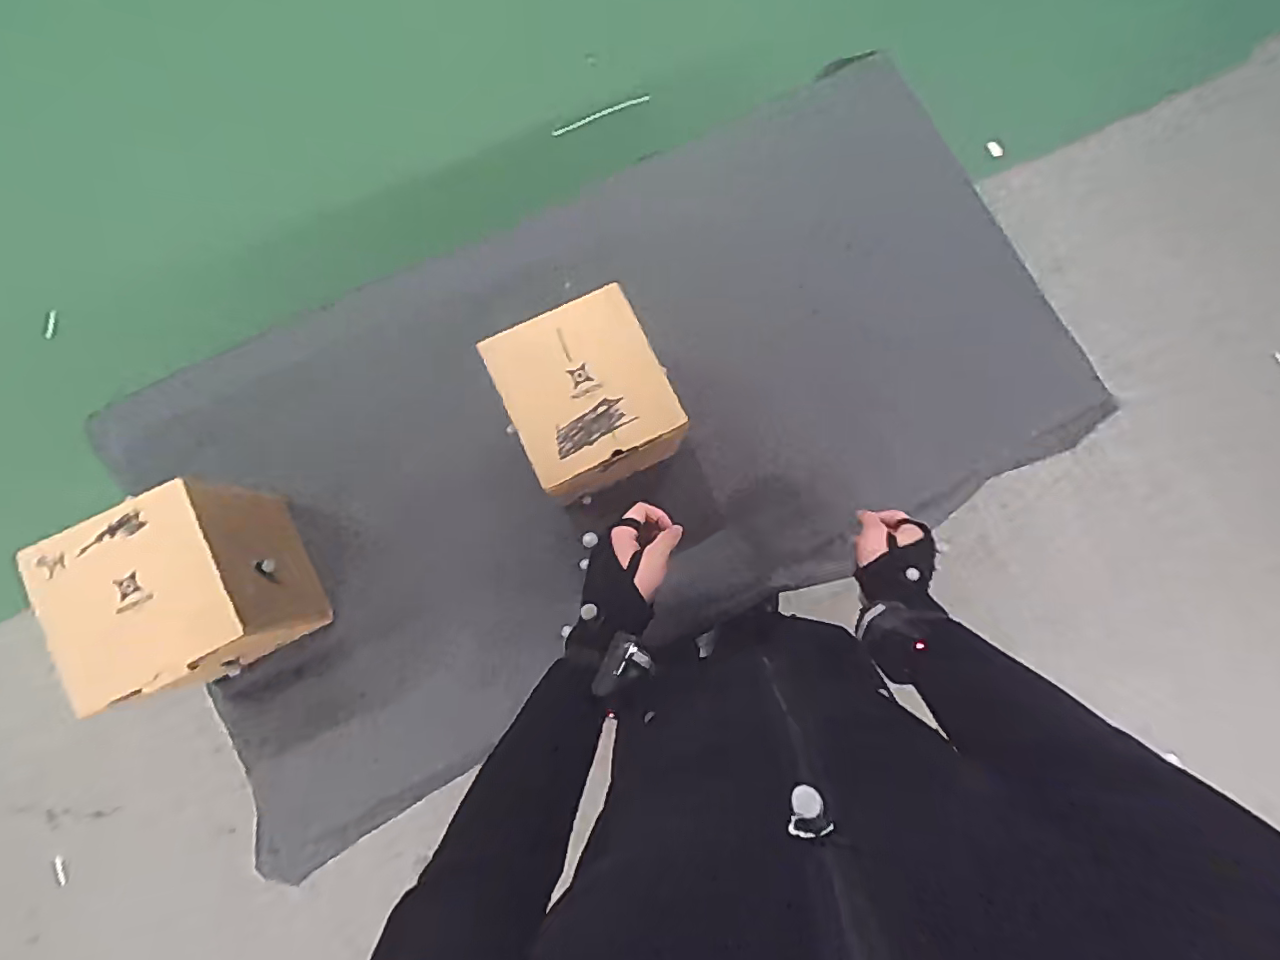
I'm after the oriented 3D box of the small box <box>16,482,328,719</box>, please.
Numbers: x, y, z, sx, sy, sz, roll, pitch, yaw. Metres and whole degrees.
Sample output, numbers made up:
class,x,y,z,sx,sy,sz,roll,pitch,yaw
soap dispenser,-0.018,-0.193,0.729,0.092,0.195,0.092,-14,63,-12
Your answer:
class,x,y,z,sx,sy,sz,roll,pitch,yaw
small box,-0.486,0.120,0.593,0.168,0.176,0.179,-27,85,-7

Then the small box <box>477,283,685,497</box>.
class,x,y,z,sx,sy,sz,roll,pitch,yaw
small box,-0.062,-0.089,0.636,0.168,0.176,0.179,-25,83,-5
